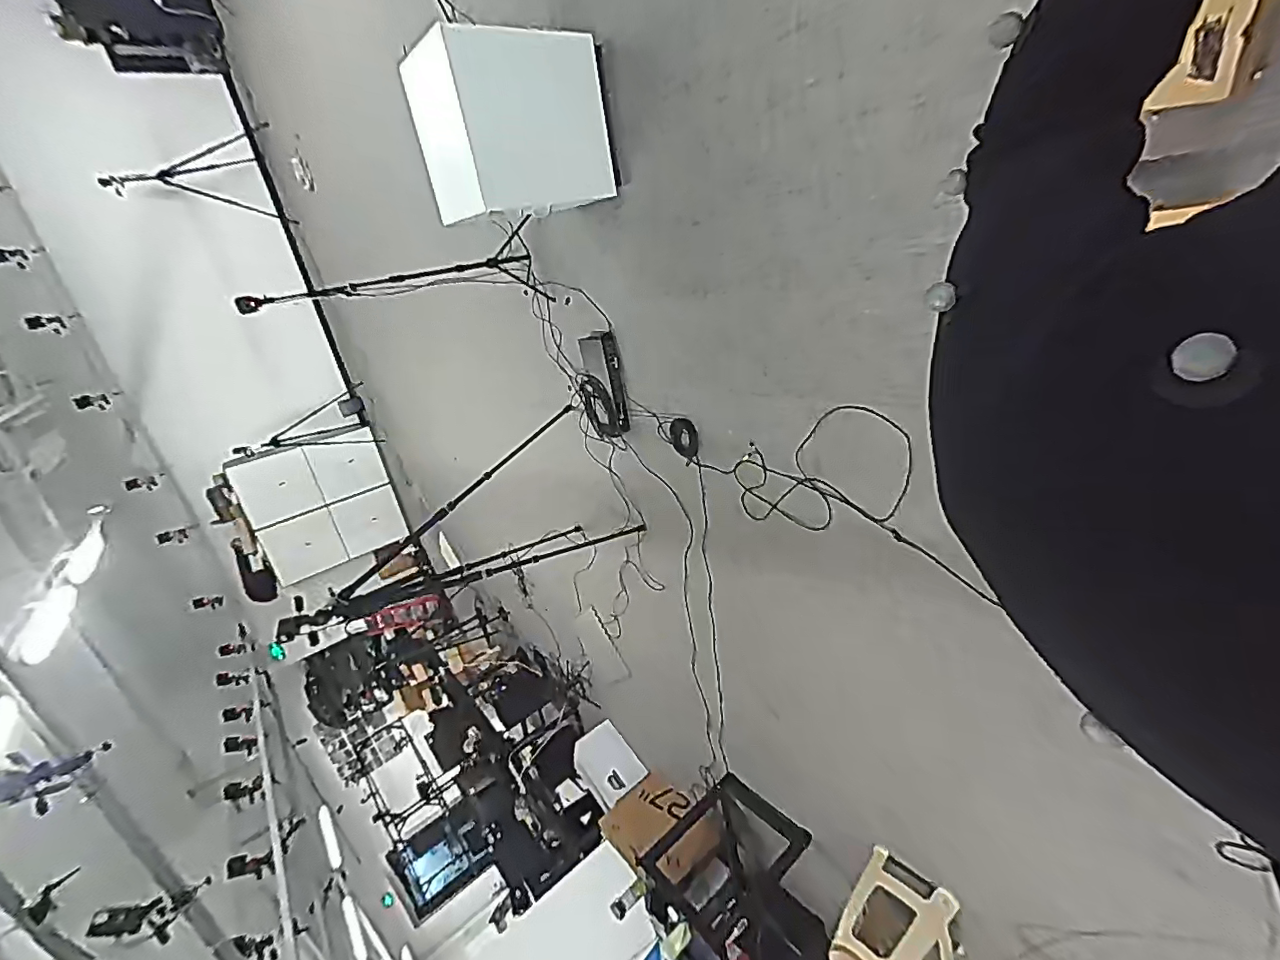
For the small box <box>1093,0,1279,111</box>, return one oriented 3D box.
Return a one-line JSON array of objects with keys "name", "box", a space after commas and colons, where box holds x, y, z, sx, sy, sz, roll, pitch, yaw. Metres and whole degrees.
[{"name": "small box", "box": [0.891, -0.713, 0.877, 0.179, 0.176, 0.168, 26, 131, 46]}]
